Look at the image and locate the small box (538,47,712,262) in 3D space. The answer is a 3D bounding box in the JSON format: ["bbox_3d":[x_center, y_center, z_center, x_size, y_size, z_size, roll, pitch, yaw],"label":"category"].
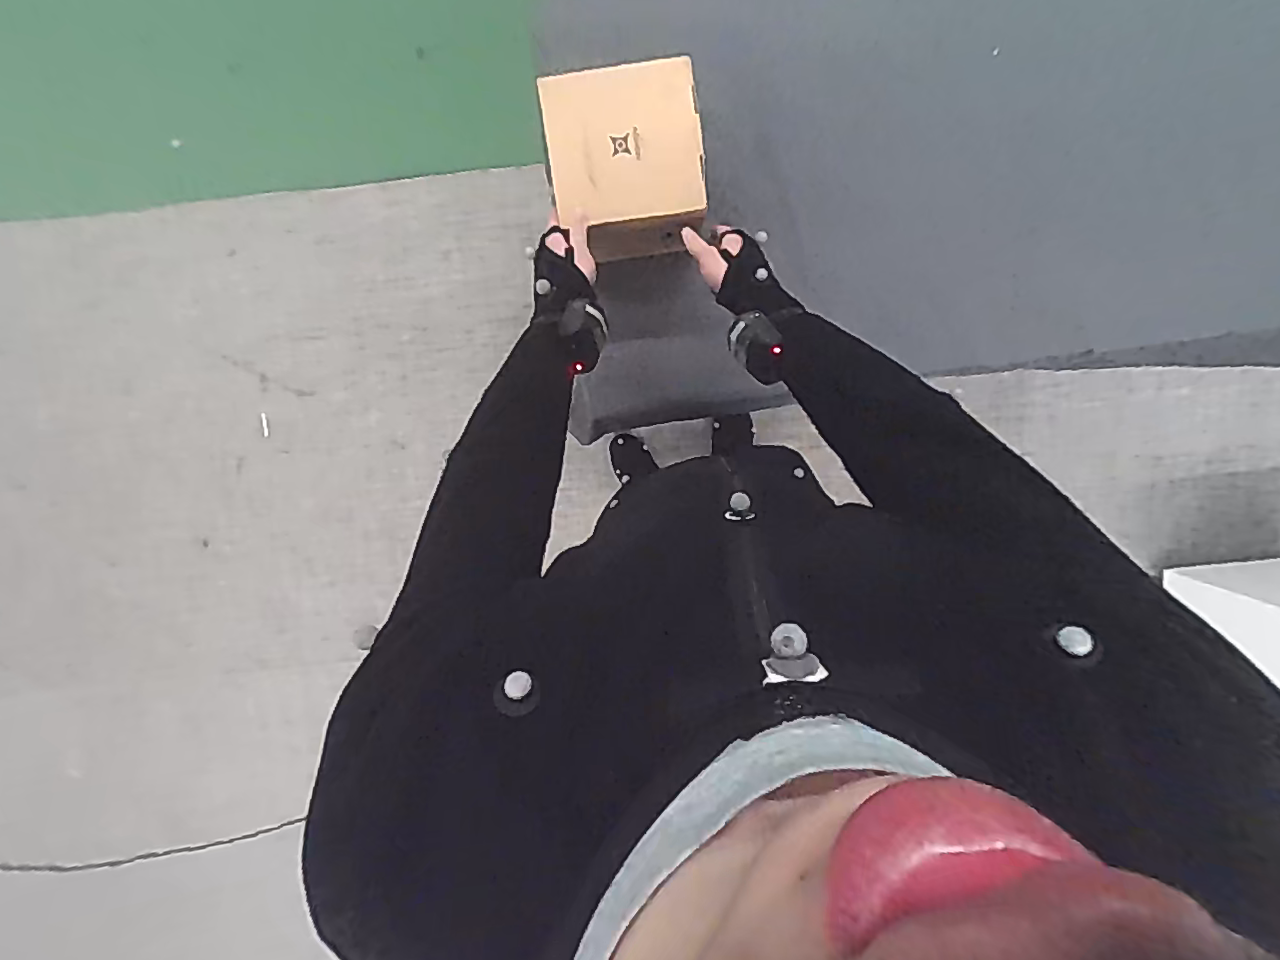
[{"bbox_3d":[-0.017,-0.388,0.675,0.179,0.176,0.168,-9,97,1],"label":"small box"}]
